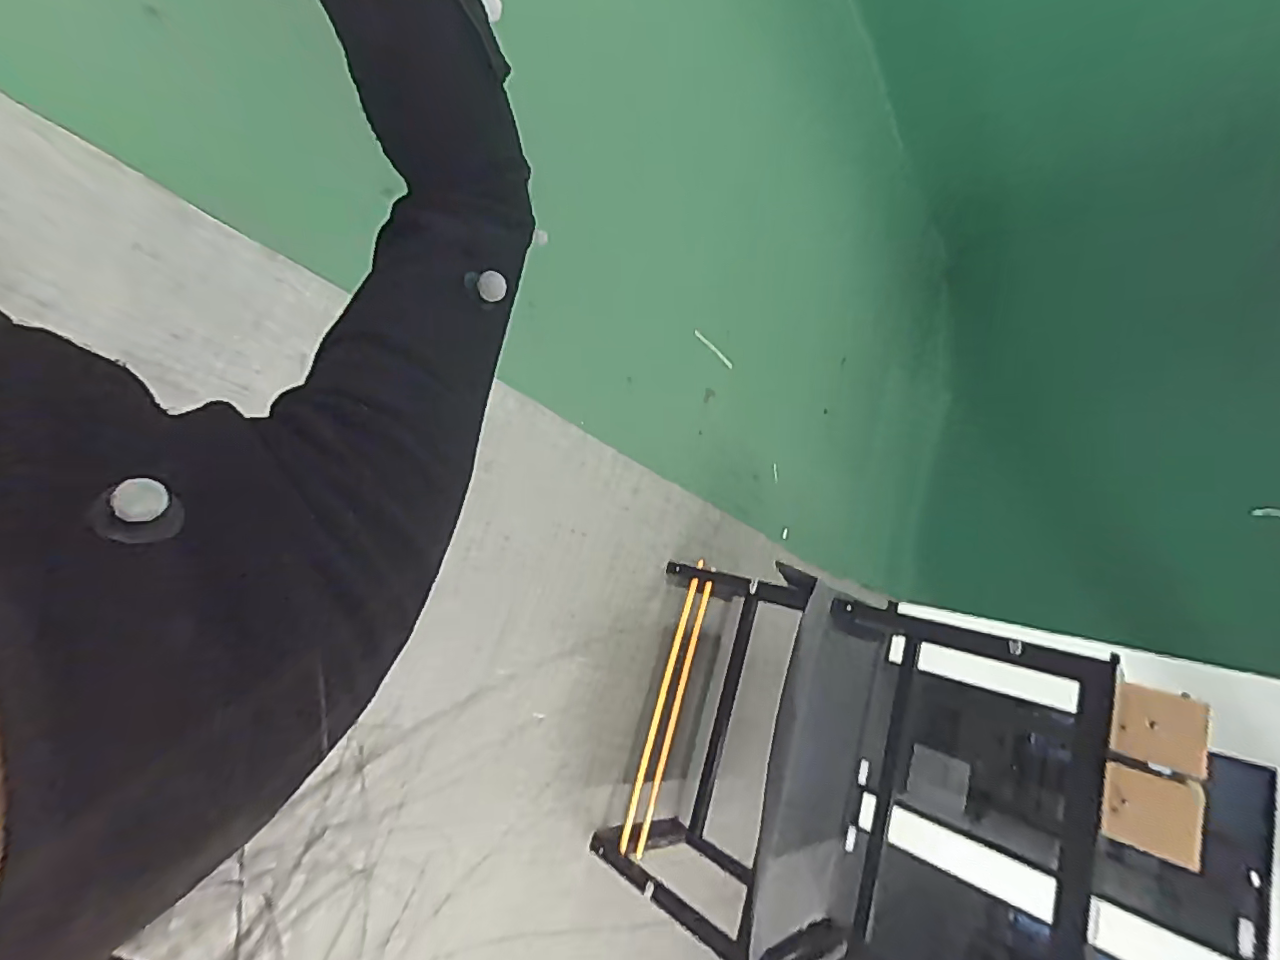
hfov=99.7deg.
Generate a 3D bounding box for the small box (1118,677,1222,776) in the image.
[{"bbox_3d":[1.292,0.593,1.324,0.179,0.176,0.168,18,83,-45],"label":"small box"}]
